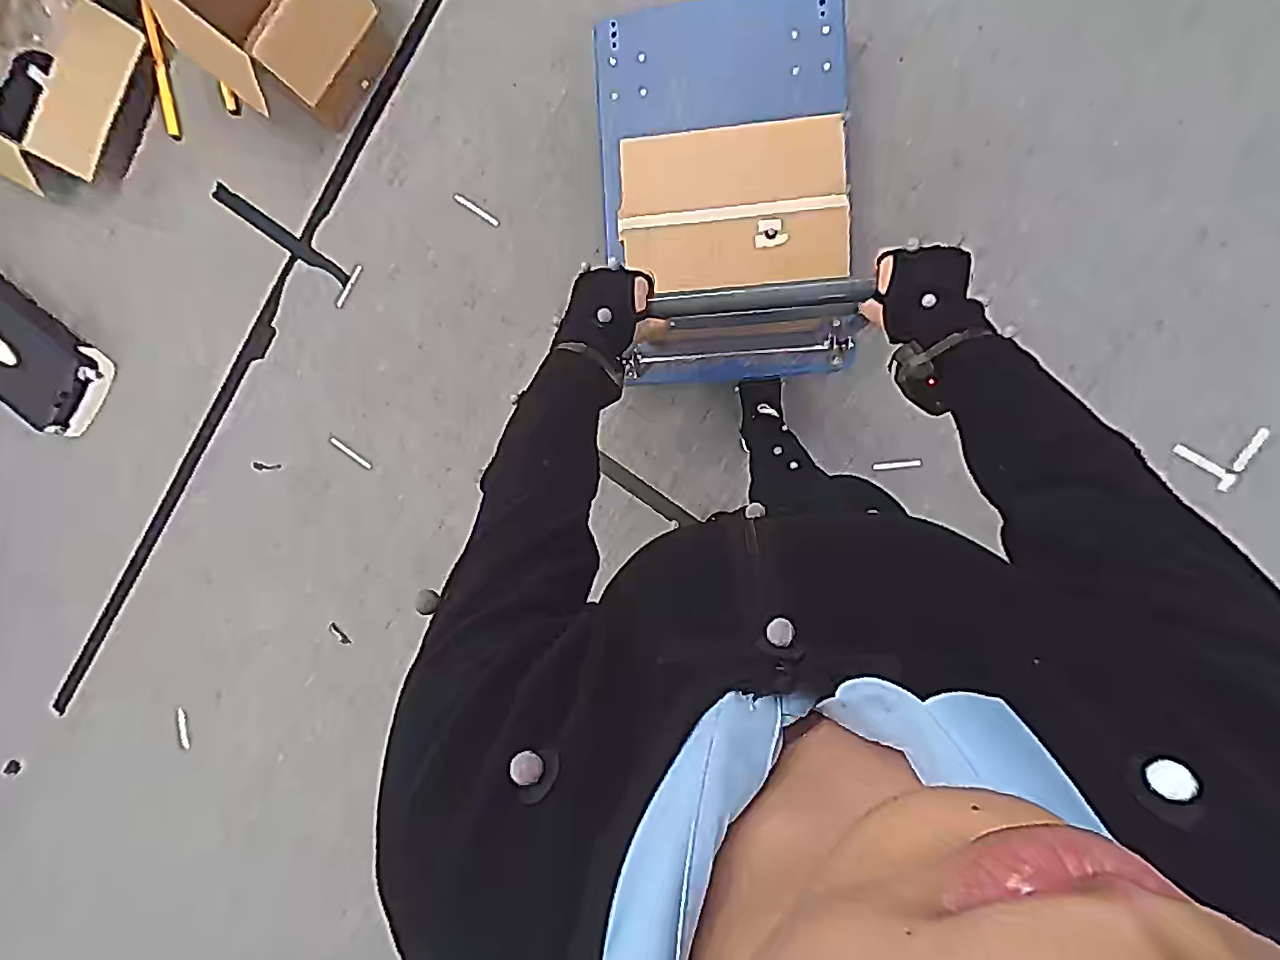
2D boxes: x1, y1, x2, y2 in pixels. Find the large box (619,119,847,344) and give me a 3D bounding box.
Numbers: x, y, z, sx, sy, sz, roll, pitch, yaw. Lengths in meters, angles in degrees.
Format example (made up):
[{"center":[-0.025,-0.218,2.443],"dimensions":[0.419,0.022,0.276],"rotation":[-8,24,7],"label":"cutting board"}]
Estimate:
[{"center":[0.181,-0.484,1.133],"dimensions":[0.408,0.320,0.320],"rotation":[-3,93,6],"label":"large box"}]
